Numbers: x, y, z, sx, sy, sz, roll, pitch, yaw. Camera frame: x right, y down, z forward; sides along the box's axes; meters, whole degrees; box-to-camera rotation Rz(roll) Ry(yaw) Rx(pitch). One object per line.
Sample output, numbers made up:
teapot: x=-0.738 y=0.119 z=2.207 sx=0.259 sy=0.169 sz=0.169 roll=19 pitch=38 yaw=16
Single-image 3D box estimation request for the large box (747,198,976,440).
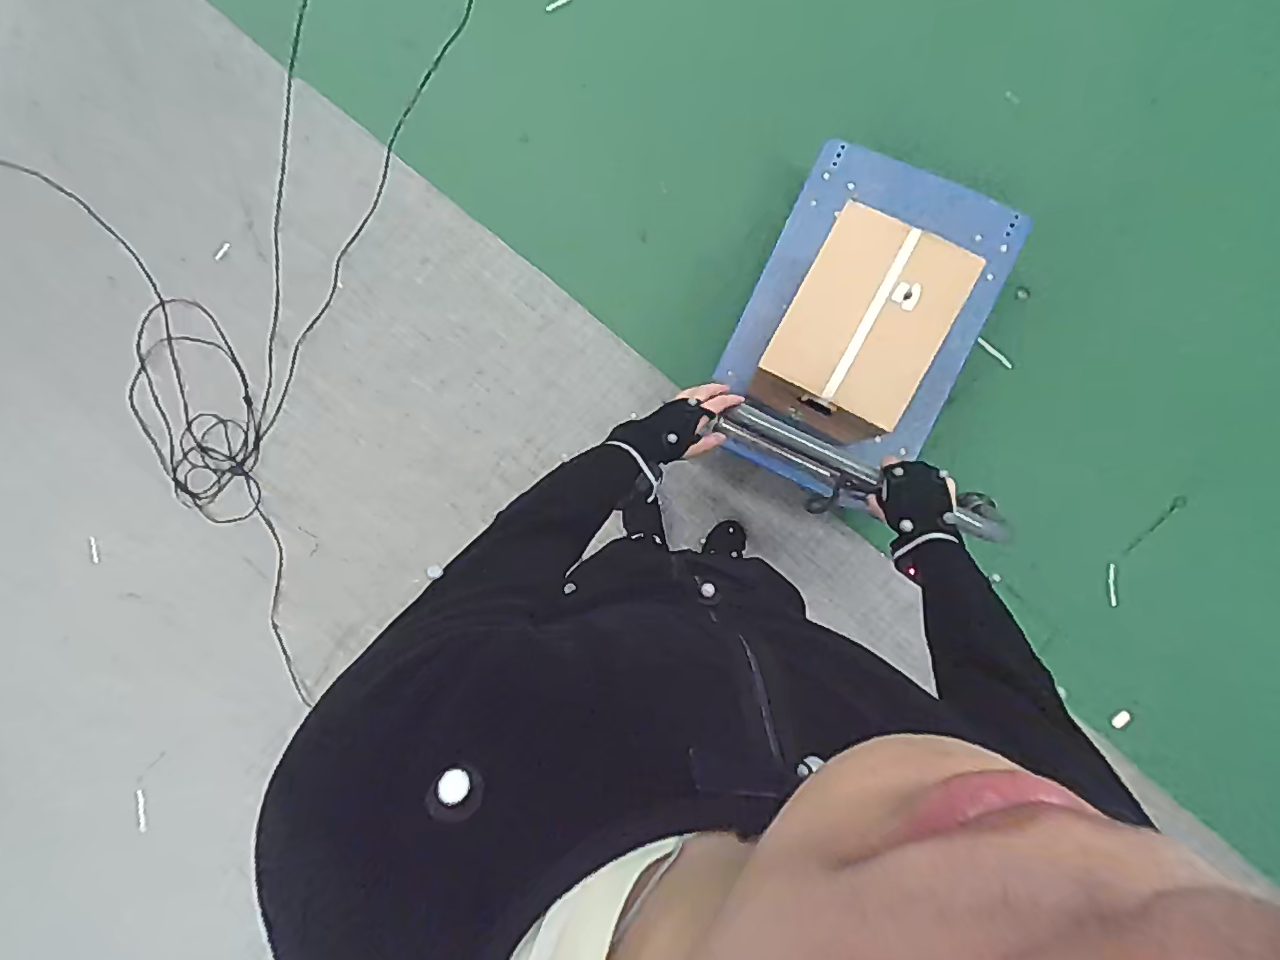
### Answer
large box: x=0.487 y=-0.348 z=1.280 sx=0.320 sy=0.320 sz=0.408 roll=29 pitch=91 yaw=6
